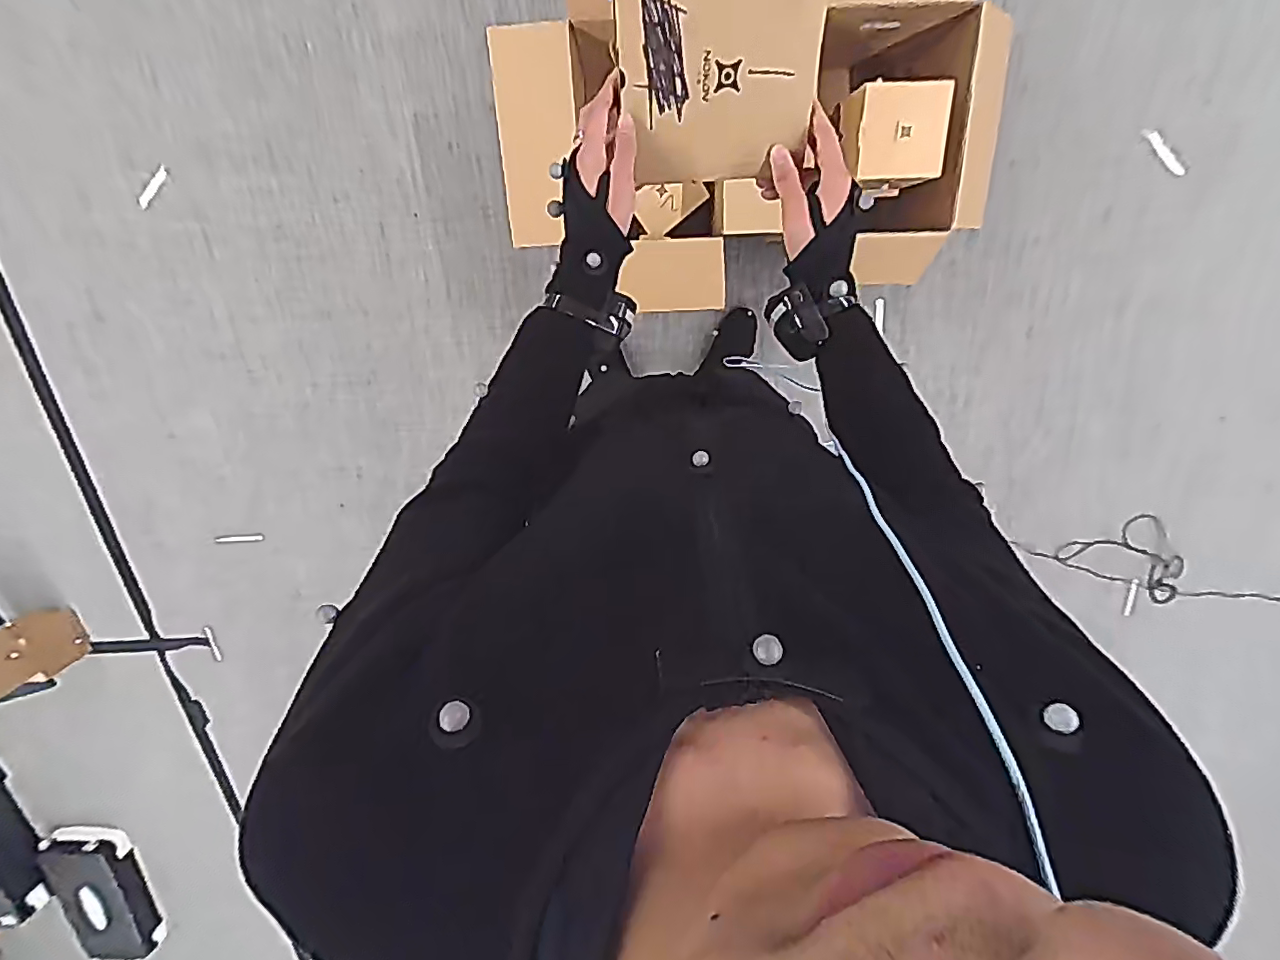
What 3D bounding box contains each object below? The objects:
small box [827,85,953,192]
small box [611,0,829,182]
[{"bbox_3d":[0.516,-0.710,1.138,0.179,0.176,0.168,-2,112,0],"label":"small box"},{"bbox_3d":[0.067,-0.401,0.525,0.179,0.176,0.168,-1,132,1],"label":"small box"}]
